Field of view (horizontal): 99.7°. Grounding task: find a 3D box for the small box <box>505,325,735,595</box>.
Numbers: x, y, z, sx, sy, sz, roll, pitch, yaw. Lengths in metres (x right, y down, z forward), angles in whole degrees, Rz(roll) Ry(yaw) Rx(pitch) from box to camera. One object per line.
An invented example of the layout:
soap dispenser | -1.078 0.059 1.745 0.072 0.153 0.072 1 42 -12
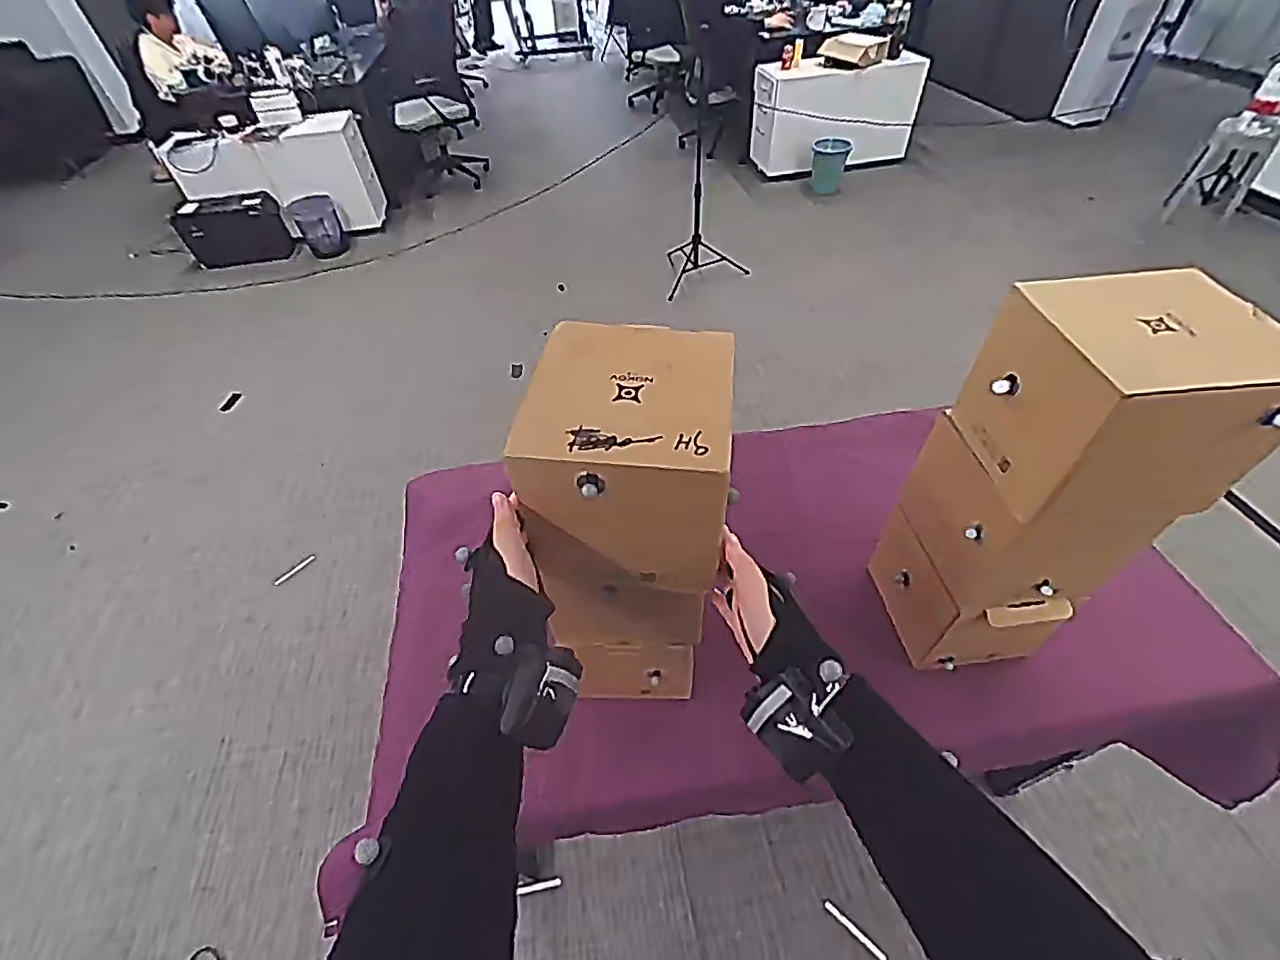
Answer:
small box | -0.005 -0.019 0.497 0.168 0.176 0.179 4 48 7

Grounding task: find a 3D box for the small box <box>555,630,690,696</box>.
small box | -0.013 0.188 0.753 0.168 0.176 0.179 0 48 3

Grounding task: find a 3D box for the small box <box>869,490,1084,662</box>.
small box | 0.449 0.140 0.758 0.168 0.176 0.179 -7 47 -2

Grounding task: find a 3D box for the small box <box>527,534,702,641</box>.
small box | -0.016 0.077 0.632 0.179 0.176 0.168 1 49 4

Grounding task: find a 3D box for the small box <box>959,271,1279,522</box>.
small box | 0.437 -0.074 0.512 0.179 0.176 0.168 -5 48 0
